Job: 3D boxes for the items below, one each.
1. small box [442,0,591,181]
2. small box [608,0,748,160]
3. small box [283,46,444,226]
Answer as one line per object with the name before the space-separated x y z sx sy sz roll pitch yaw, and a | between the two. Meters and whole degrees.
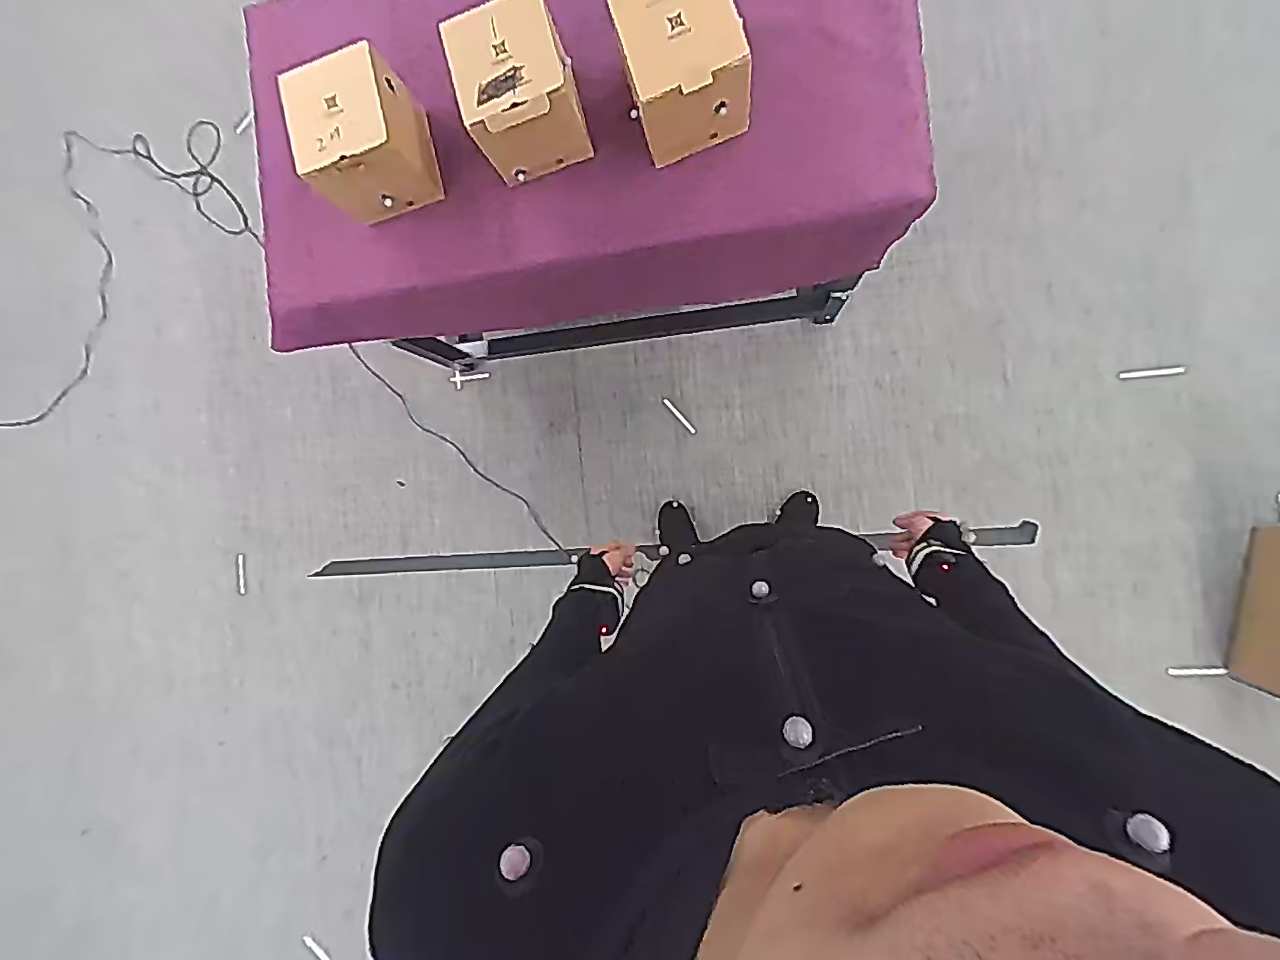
small box | -0.192 -0.629 0.891 0.168 0.176 0.179 -16 86 9
small box | 0.067 -0.642 0.849 0.168 0.176 0.179 -18 86 9
small box | -0.467 -0.581 0.936 0.168 0.176 0.179 -14 87 9
